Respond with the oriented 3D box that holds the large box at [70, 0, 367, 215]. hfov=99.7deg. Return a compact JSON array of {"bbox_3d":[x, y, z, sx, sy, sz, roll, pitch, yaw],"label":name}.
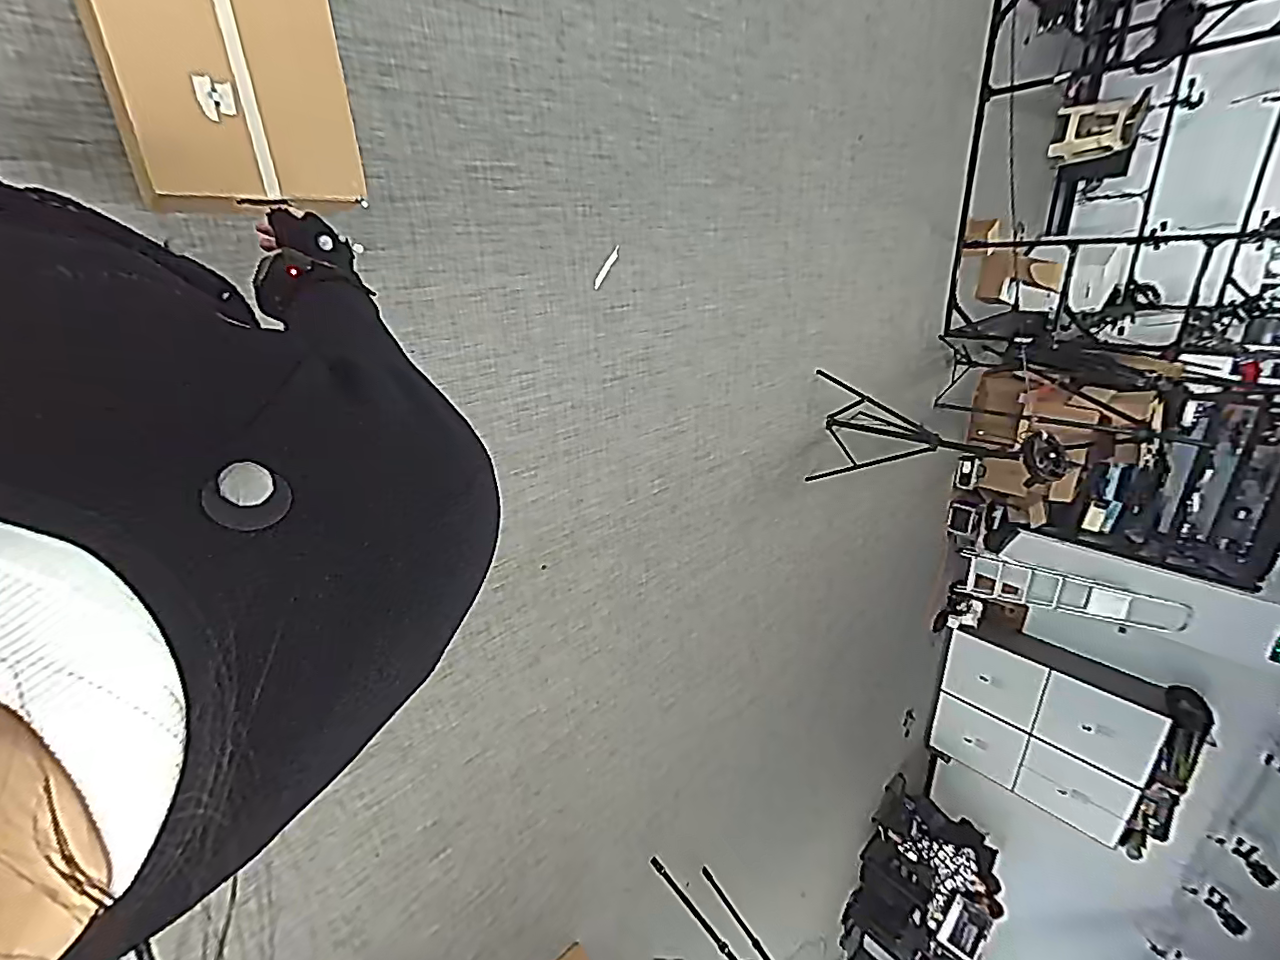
[{"bbox_3d":[-0.736,-0.699,0.948,0.320,0.320,0.408,-21,120,-37],"label":"large box"}]
